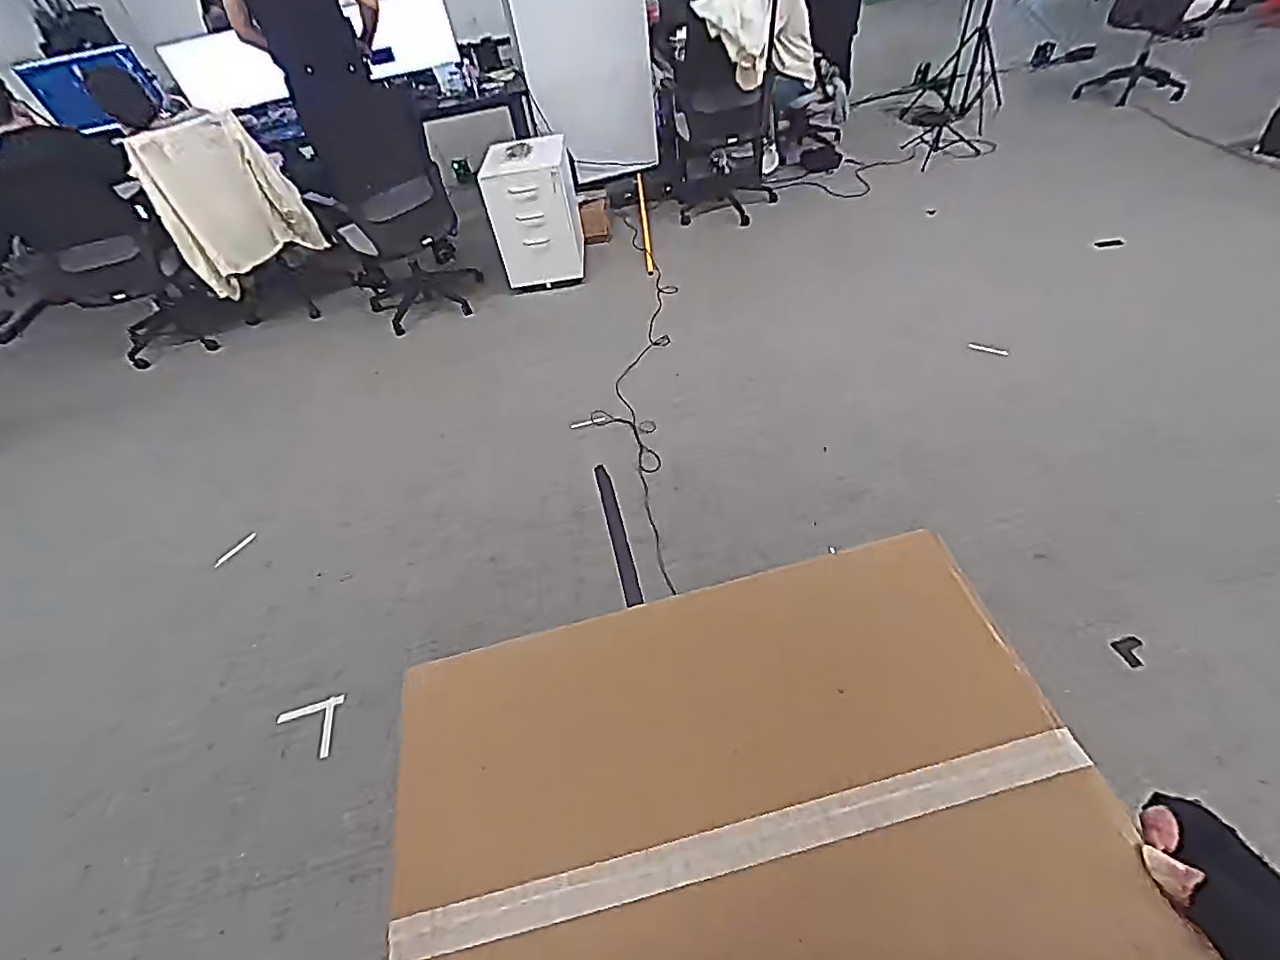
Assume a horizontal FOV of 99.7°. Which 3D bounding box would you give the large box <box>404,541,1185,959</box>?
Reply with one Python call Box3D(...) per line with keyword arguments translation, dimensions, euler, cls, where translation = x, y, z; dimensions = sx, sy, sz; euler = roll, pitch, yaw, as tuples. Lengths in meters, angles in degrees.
Box3D(translation=(0.077, 0.301, 0.436), dimensions=(0.408, 0.320, 0.320), euler=(-15, 51, -1), cls="large box")
